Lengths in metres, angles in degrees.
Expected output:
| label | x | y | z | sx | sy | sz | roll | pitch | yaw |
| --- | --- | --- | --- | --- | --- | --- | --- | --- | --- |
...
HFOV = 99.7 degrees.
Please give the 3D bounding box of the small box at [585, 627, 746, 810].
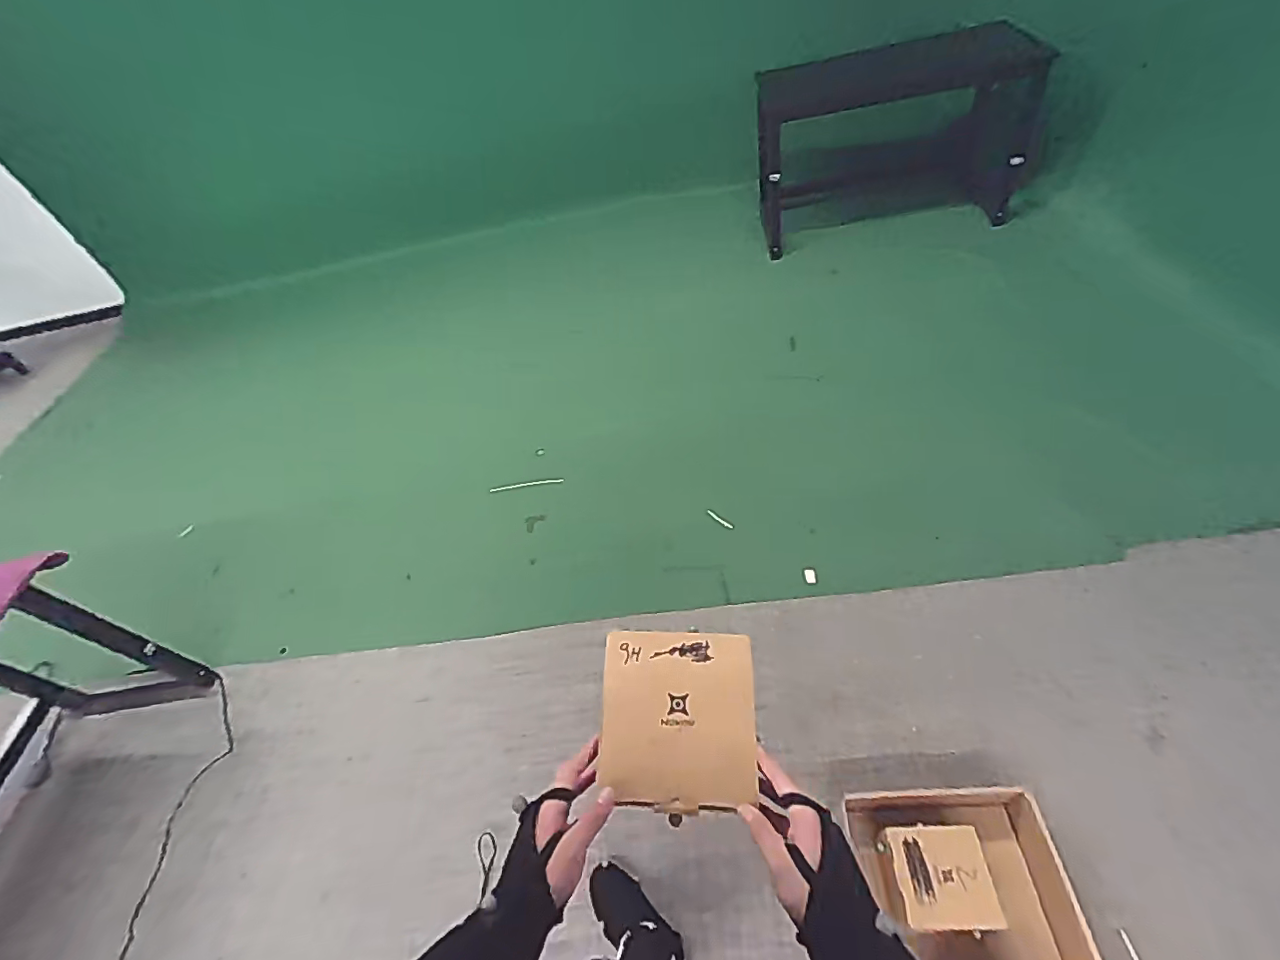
| label | x | y | z | sx | sy | sz | roll | pitch | yaw |
| --- | --- | --- | --- | --- | --- | --- | --- | --- | --- |
| small box | 0.035 | 0.287 | 0.646 | 0.168 | 0.176 | 0.179 | 0 | 59 | 5 |
